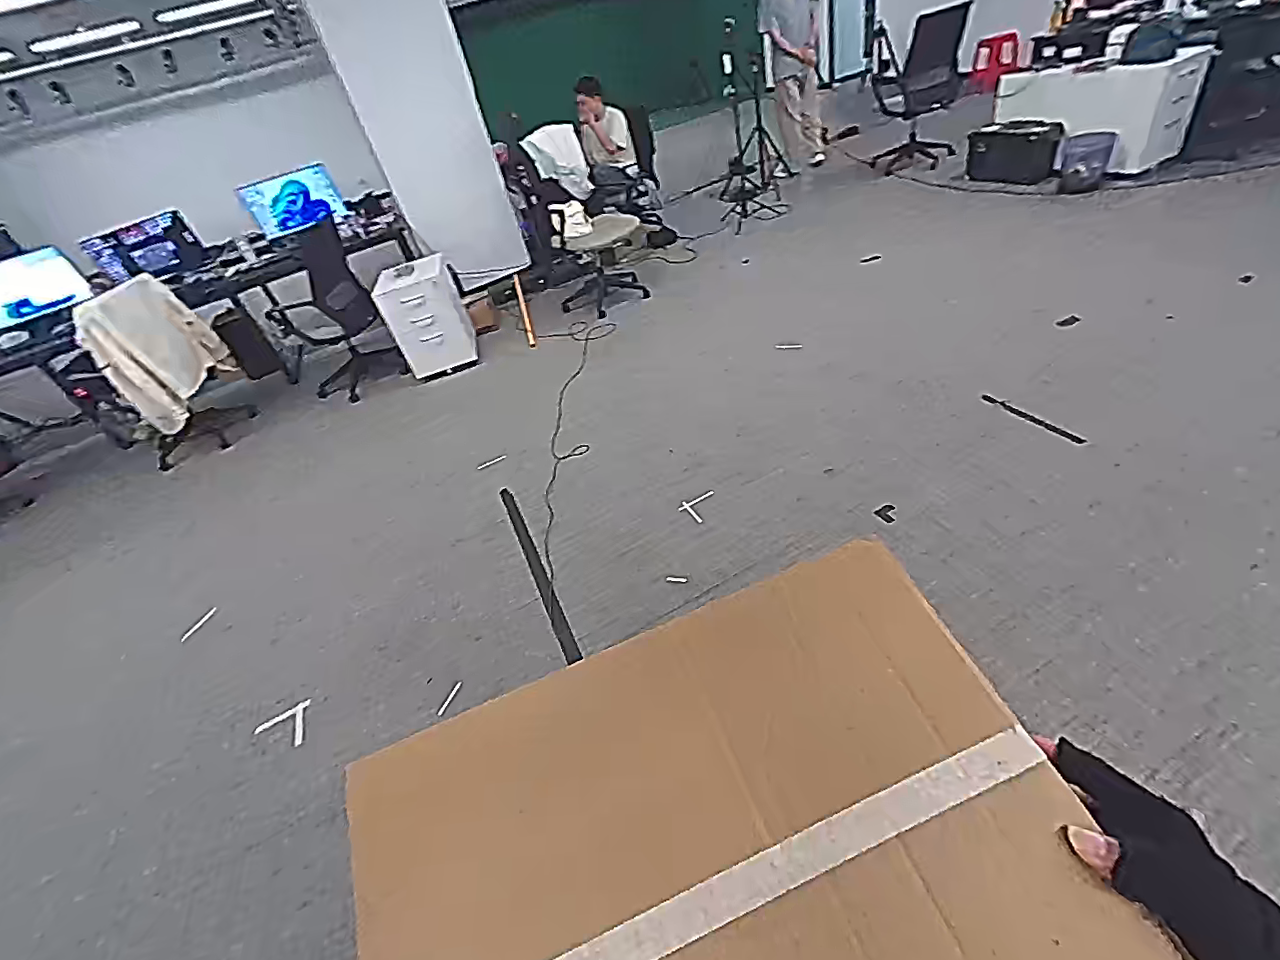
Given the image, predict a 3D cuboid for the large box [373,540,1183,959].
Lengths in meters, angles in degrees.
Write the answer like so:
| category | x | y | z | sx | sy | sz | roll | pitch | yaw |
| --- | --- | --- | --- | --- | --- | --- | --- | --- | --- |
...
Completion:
| category | x | y | z | sx | sy | sz | roll | pitch | yaw |
| --- | --- | --- | --- | --- | --- | --- | --- | --- | --- |
| large box | 0.070 | 0.316 | 0.438 | 0.408 | 0.320 | 0.320 | -23 | 58 | -6 |
